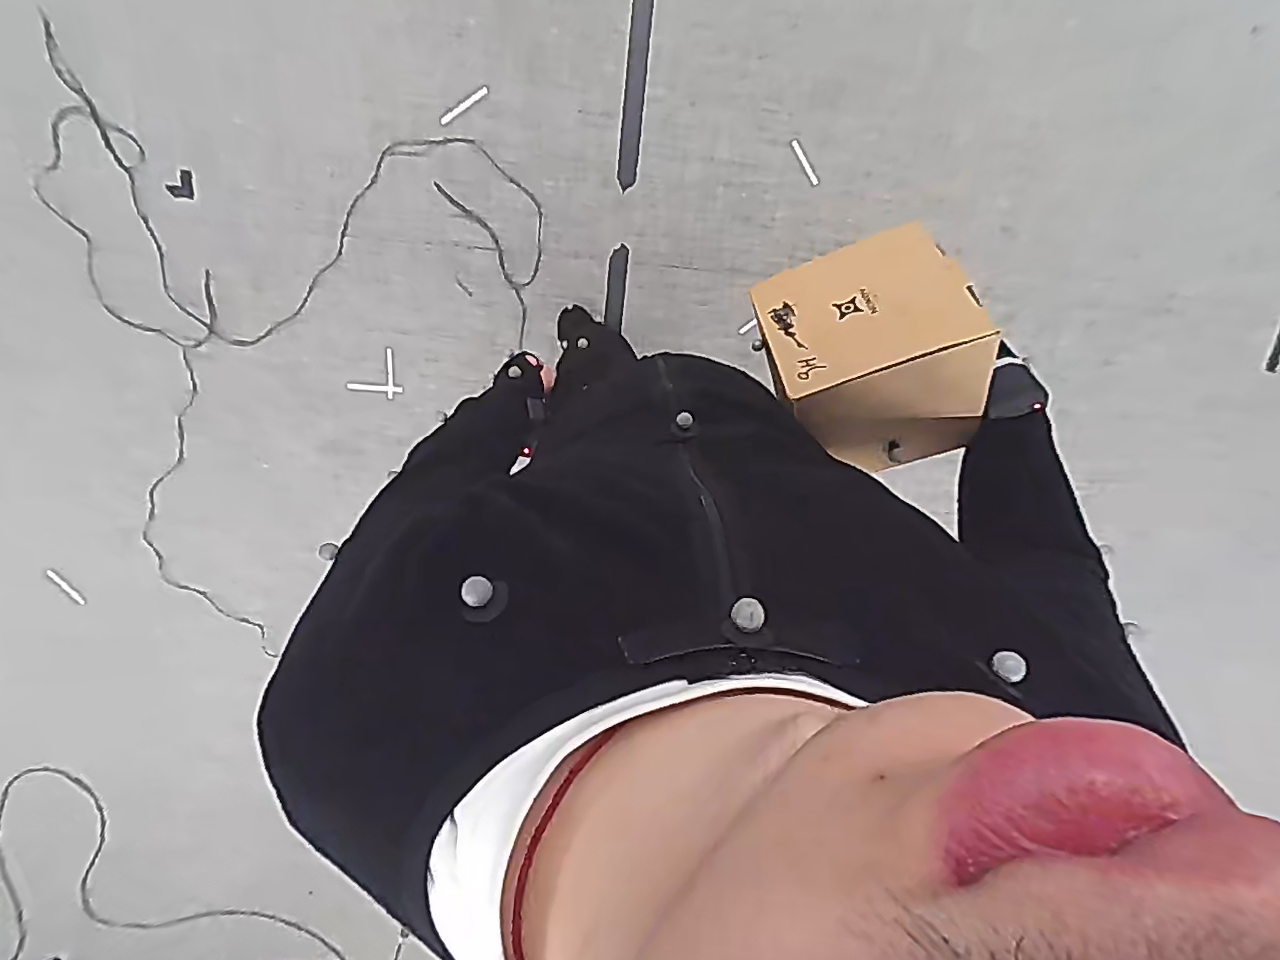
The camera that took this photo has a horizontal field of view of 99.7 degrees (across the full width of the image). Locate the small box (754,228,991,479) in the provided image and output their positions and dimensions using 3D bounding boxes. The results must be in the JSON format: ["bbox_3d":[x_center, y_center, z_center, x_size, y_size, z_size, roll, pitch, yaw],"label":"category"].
[{"bbox_3d":[0.238,-0.127,0.586,0.179,0.168,0.176,-17,144,13],"label":"small box"}]
